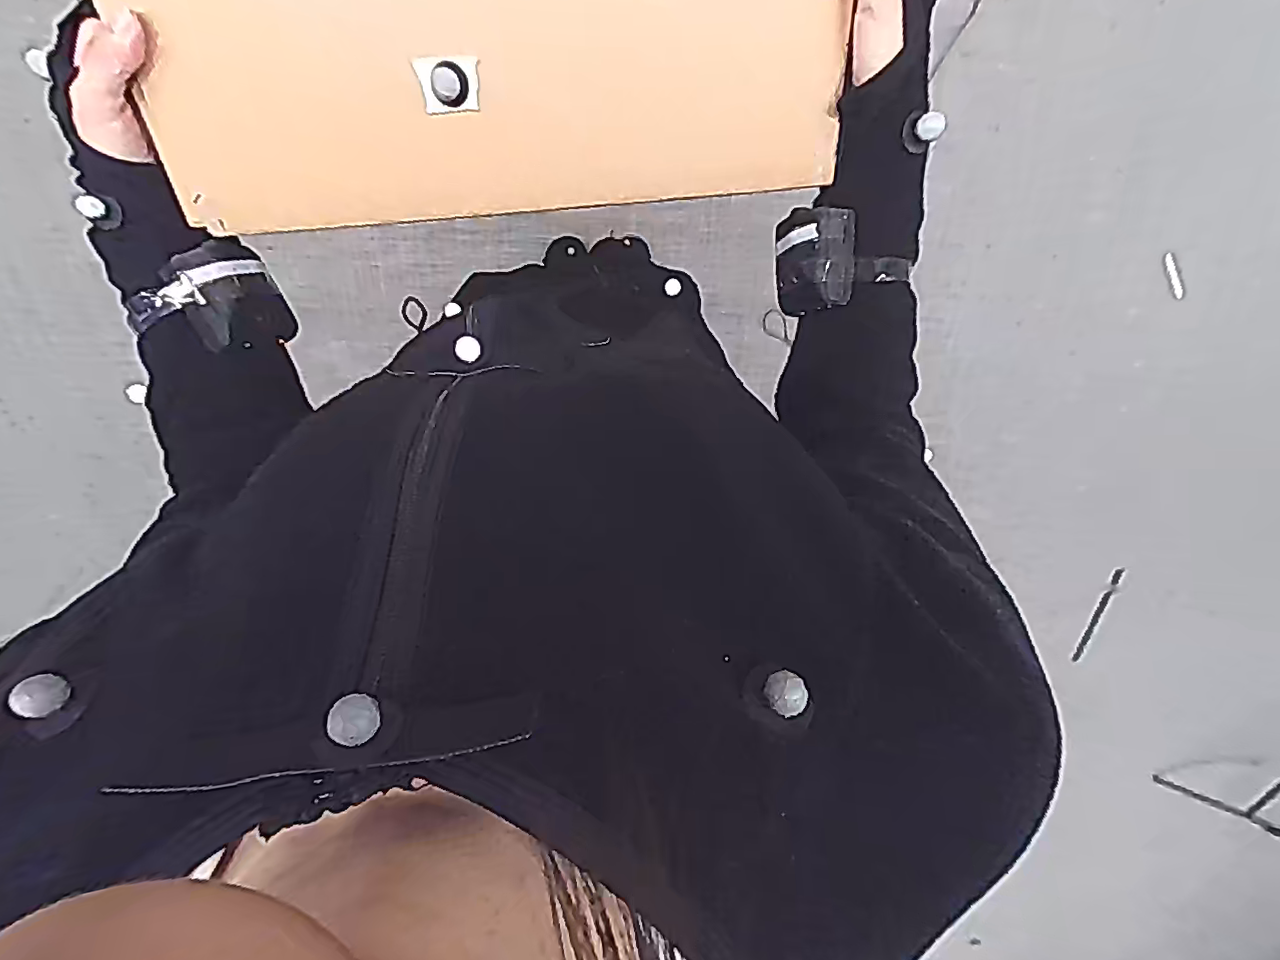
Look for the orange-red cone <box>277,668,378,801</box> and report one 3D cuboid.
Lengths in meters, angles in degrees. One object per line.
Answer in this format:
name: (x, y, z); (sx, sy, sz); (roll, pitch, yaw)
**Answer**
orange-red cone: (-0.942, 0.751, 1.566); (0.199, 0.360, 0.198); (-8, 114, -1)
